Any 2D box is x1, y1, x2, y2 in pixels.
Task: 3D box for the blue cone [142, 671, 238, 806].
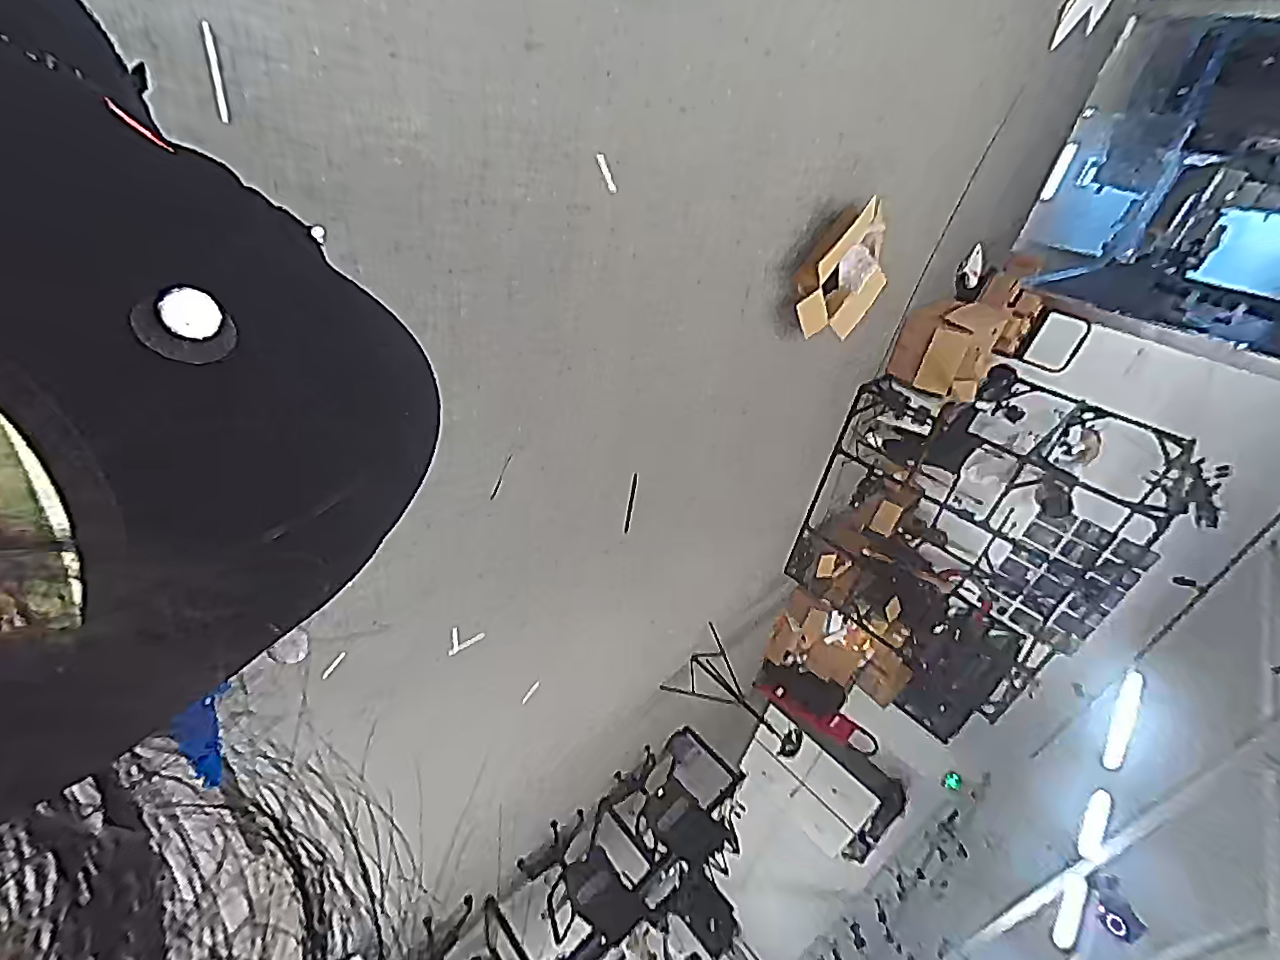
[{"bbox_3d":[-1.201,0.737,1.506,0.192,0.380,0.193,-27,139,-37],"label":"blue cone"}]
